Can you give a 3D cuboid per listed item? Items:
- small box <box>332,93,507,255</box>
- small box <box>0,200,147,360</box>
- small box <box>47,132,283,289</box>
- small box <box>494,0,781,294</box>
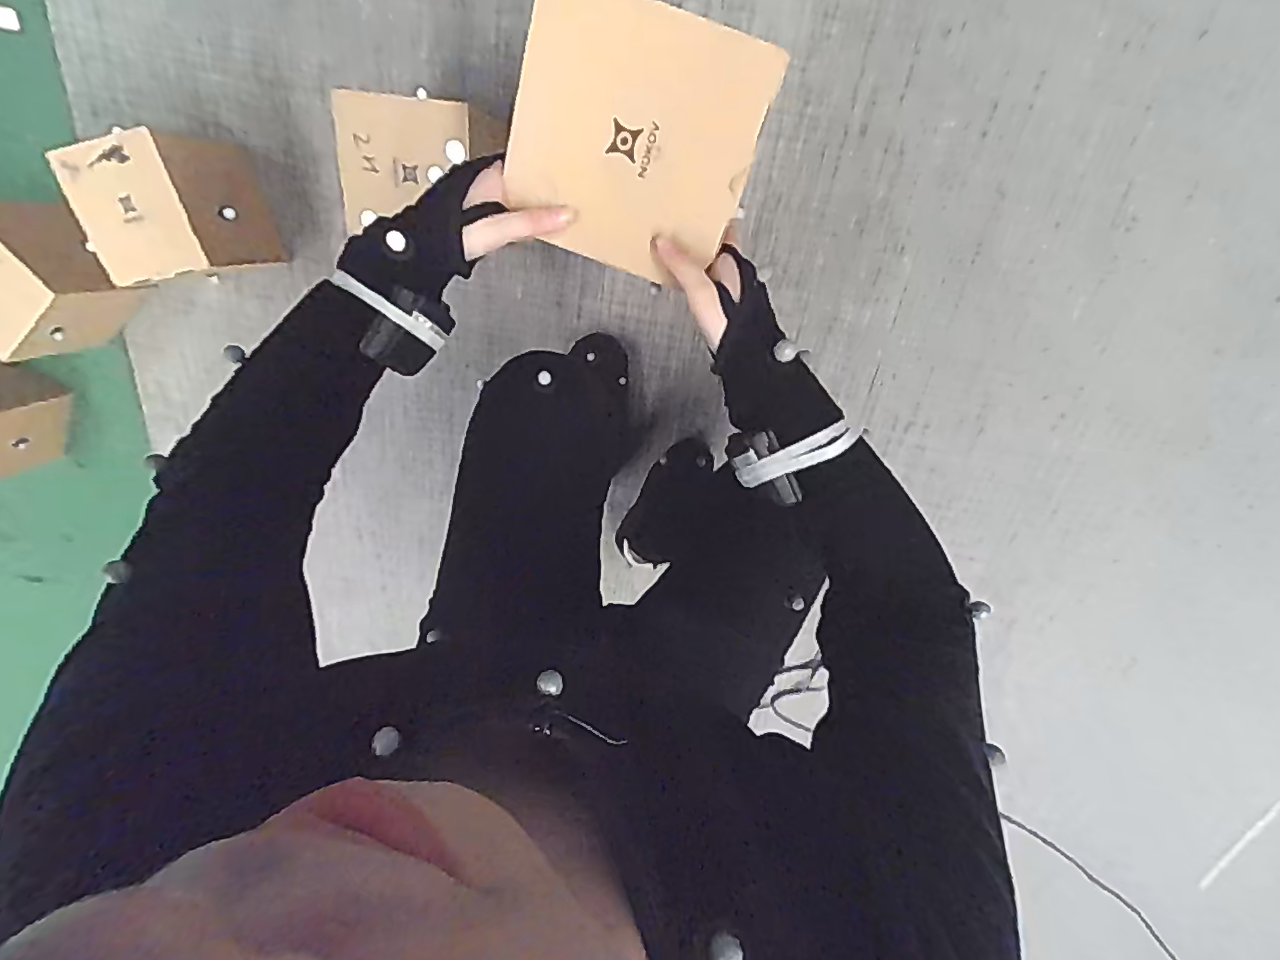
[{"bbox_3d":[-0.295,-0.421,0.764,0.179,0.176,0.168,8,114,1],"label":"small box"},{"bbox_3d":[-0.972,-0.322,0.875,0.179,0.176,0.168,-32,107,17],"label":"small box"},{"bbox_3d":[-0.689,-0.399,0.813,0.168,0.176,0.179,-6,114,8],"label":"small box"},{"bbox_3d":[-0.001,-0.277,0.470,0.179,0.176,0.168,19,115,-2],"label":"small box"}]
